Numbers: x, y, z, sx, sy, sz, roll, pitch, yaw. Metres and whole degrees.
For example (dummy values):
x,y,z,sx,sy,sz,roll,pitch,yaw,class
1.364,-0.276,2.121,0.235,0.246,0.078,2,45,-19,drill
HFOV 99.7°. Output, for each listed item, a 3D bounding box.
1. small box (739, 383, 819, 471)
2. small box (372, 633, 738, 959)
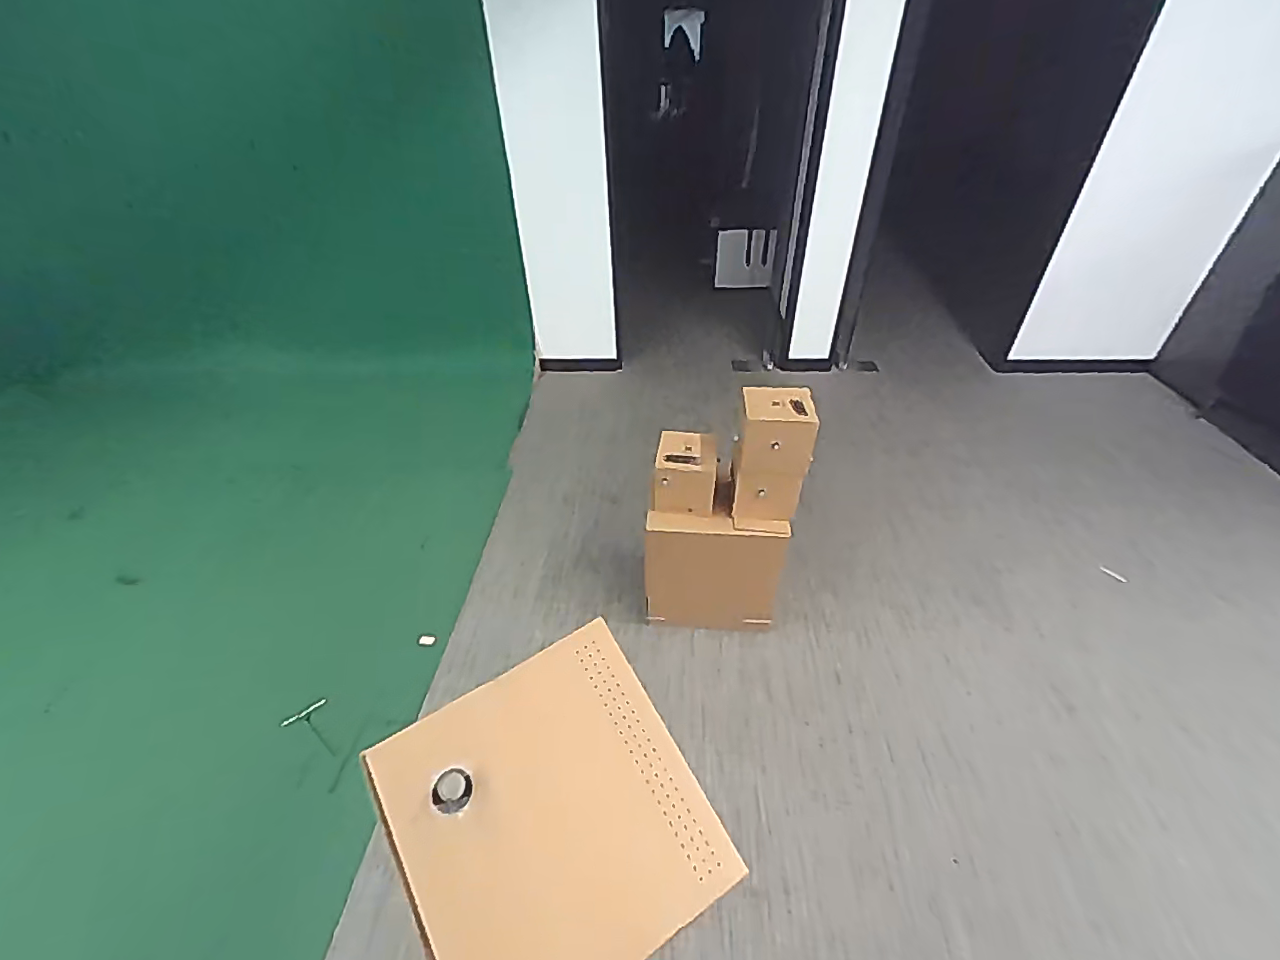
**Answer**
x,y,z,sx,sy,sz,roll,pitch,yaw,class
0.358,-0.138,1.423,0.179,0.176,0.168,2,41,6,small box
-0.059,0.232,0.393,0.176,0.168,0.179,-27,67,-18,small box
